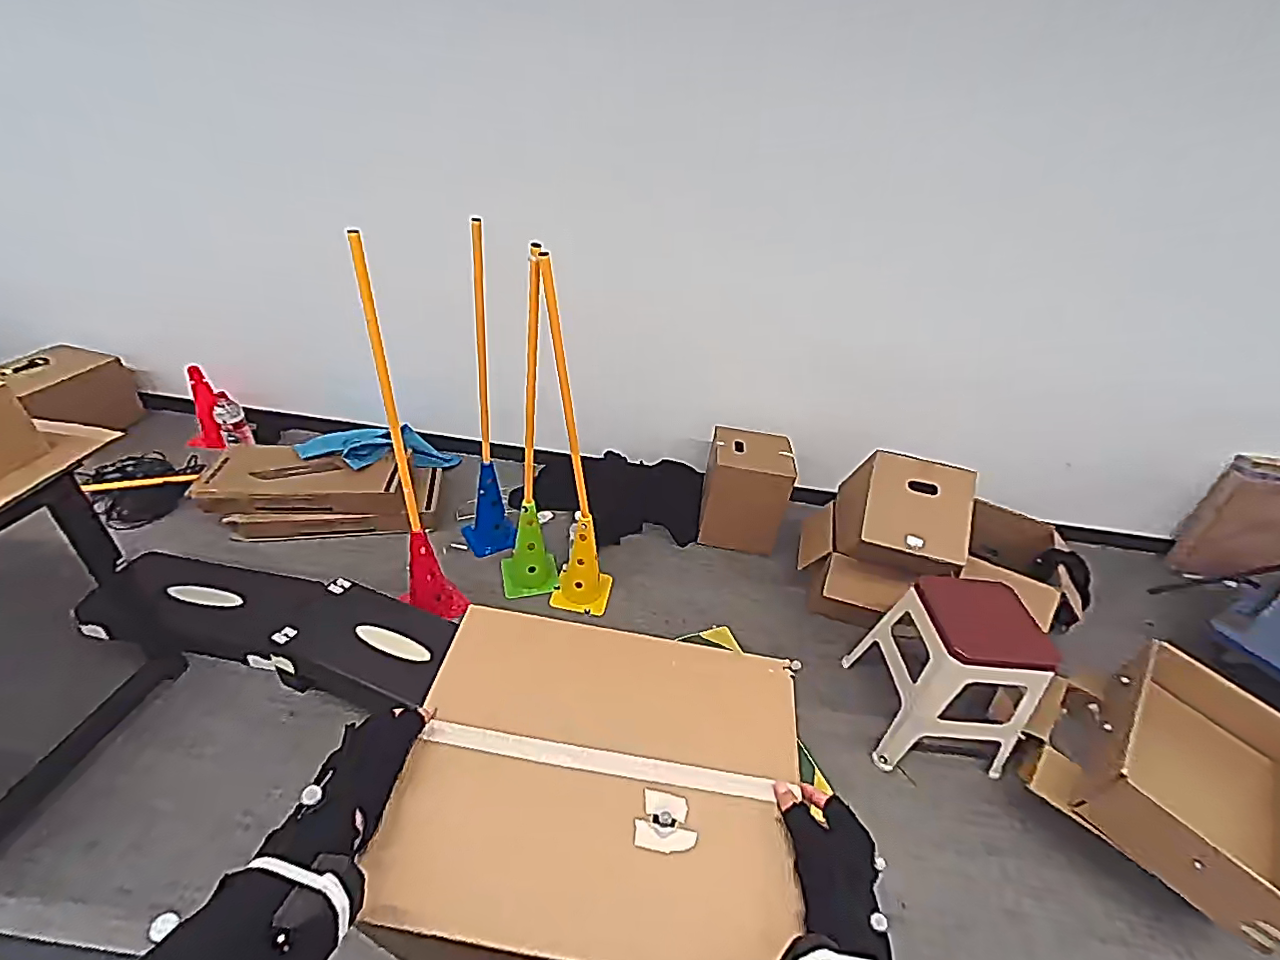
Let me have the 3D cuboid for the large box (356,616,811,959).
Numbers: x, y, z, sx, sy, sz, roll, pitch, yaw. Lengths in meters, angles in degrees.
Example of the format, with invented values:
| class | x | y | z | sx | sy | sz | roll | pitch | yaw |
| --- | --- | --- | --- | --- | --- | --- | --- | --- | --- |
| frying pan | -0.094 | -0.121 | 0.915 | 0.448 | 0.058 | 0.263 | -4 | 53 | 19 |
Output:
| class | x | y | z | sx | sy | sz | roll | pitch | yaw |
| --- | --- | --- | --- | --- | --- | --- | --- | --- | --- |
| large box | -0.050 | 0.410 | 0.667 | 0.408 | 0.320 | 0.320 | 9 | 42 | 2 |
